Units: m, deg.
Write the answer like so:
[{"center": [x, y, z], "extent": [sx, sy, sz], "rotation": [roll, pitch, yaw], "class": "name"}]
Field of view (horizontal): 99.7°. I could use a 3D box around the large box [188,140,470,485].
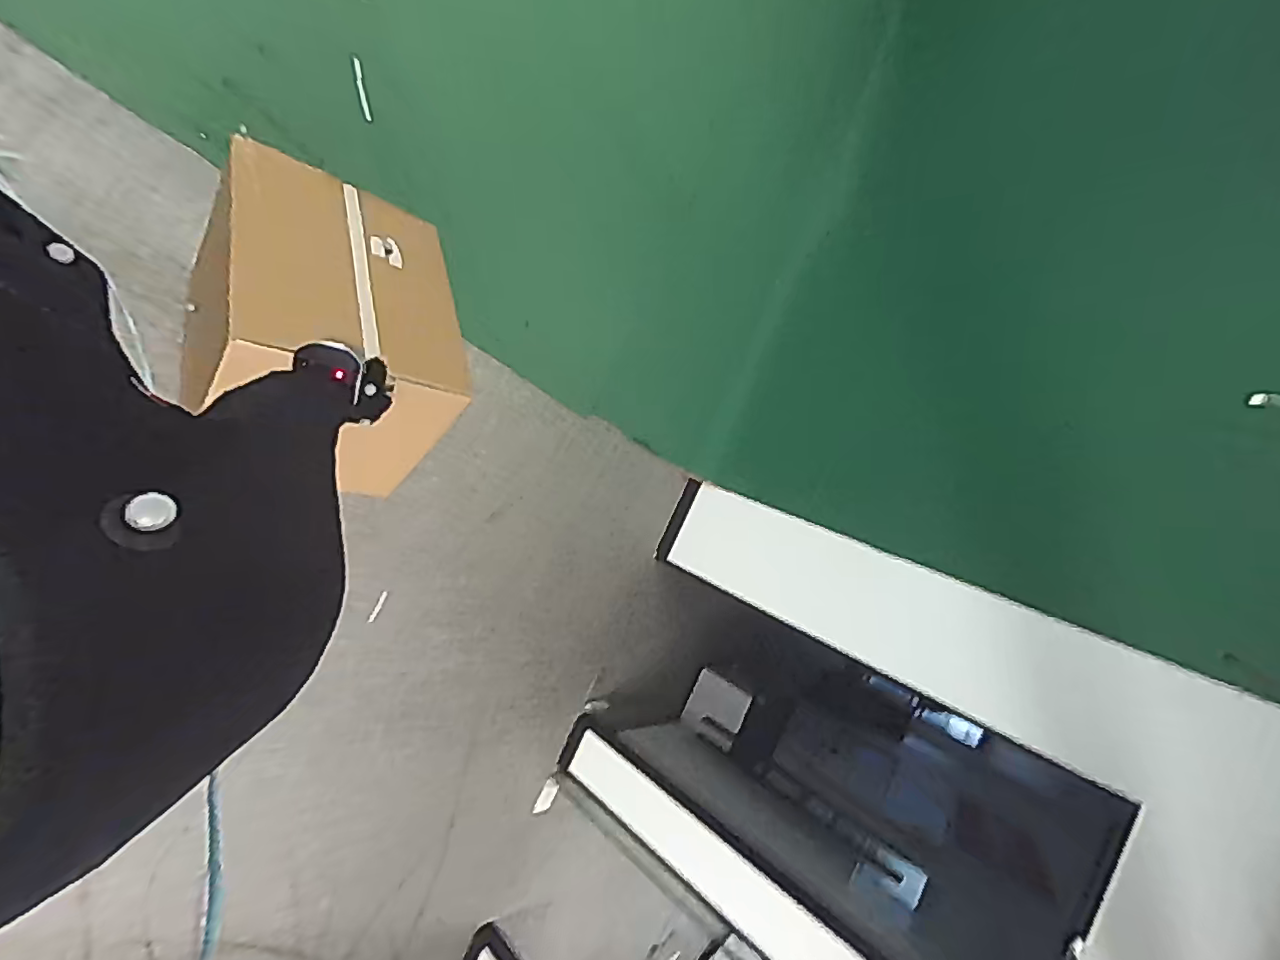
[{"center": [-0.532, -0.243, 0.906], "extent": [0.320, 0.408, 0.320], "rotation": [10, 141, -47], "class": "large box"}]
